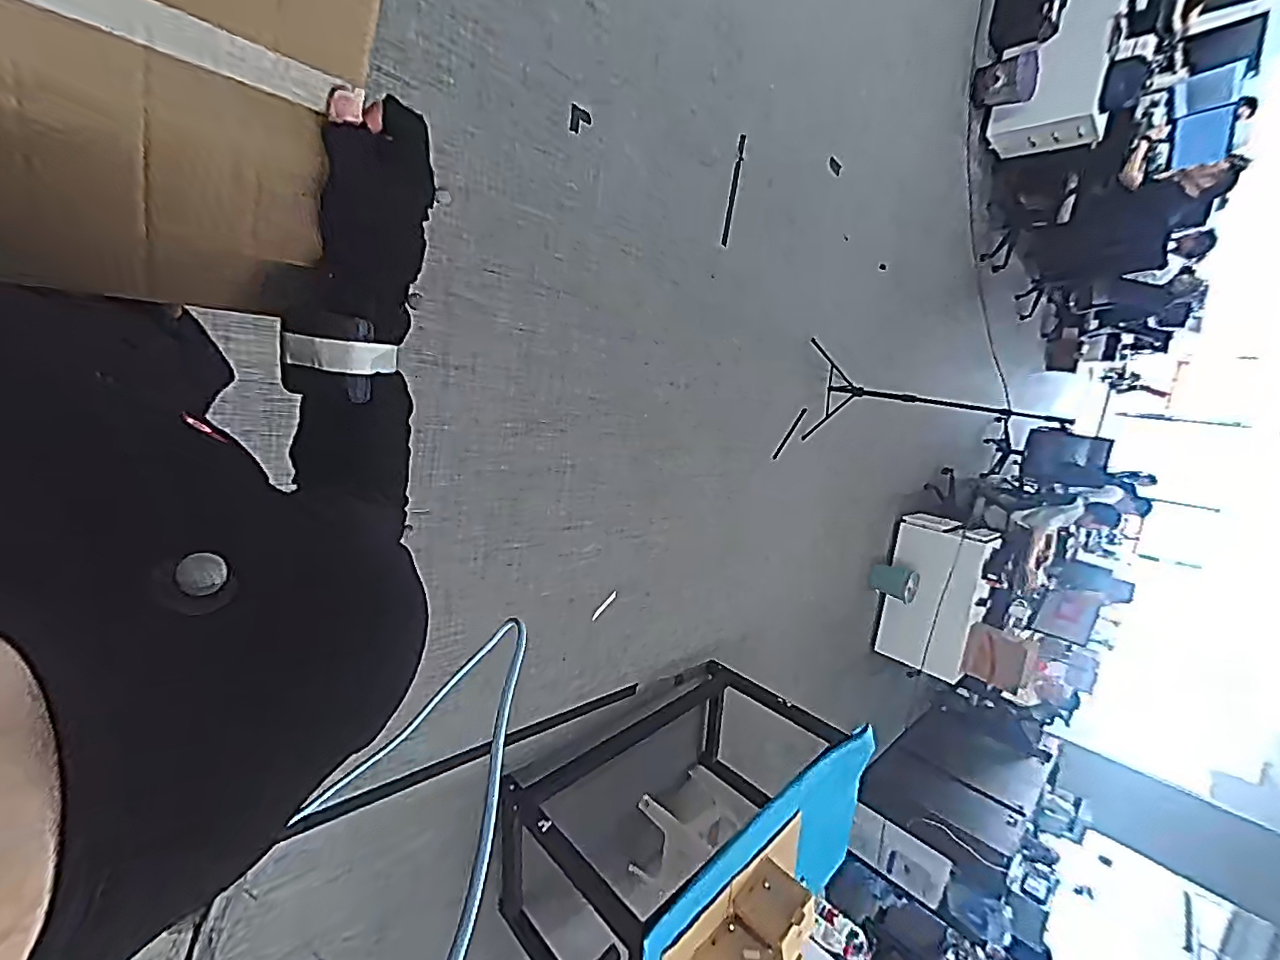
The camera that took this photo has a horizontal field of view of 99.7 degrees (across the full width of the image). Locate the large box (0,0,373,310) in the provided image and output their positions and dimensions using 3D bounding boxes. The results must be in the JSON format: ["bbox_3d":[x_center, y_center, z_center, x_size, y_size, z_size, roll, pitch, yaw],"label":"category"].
[{"bbox_3d":[-0.402,-0.328,0.271,0.408,0.320,0.320,-6,140,-45],"label":"large box"}]
